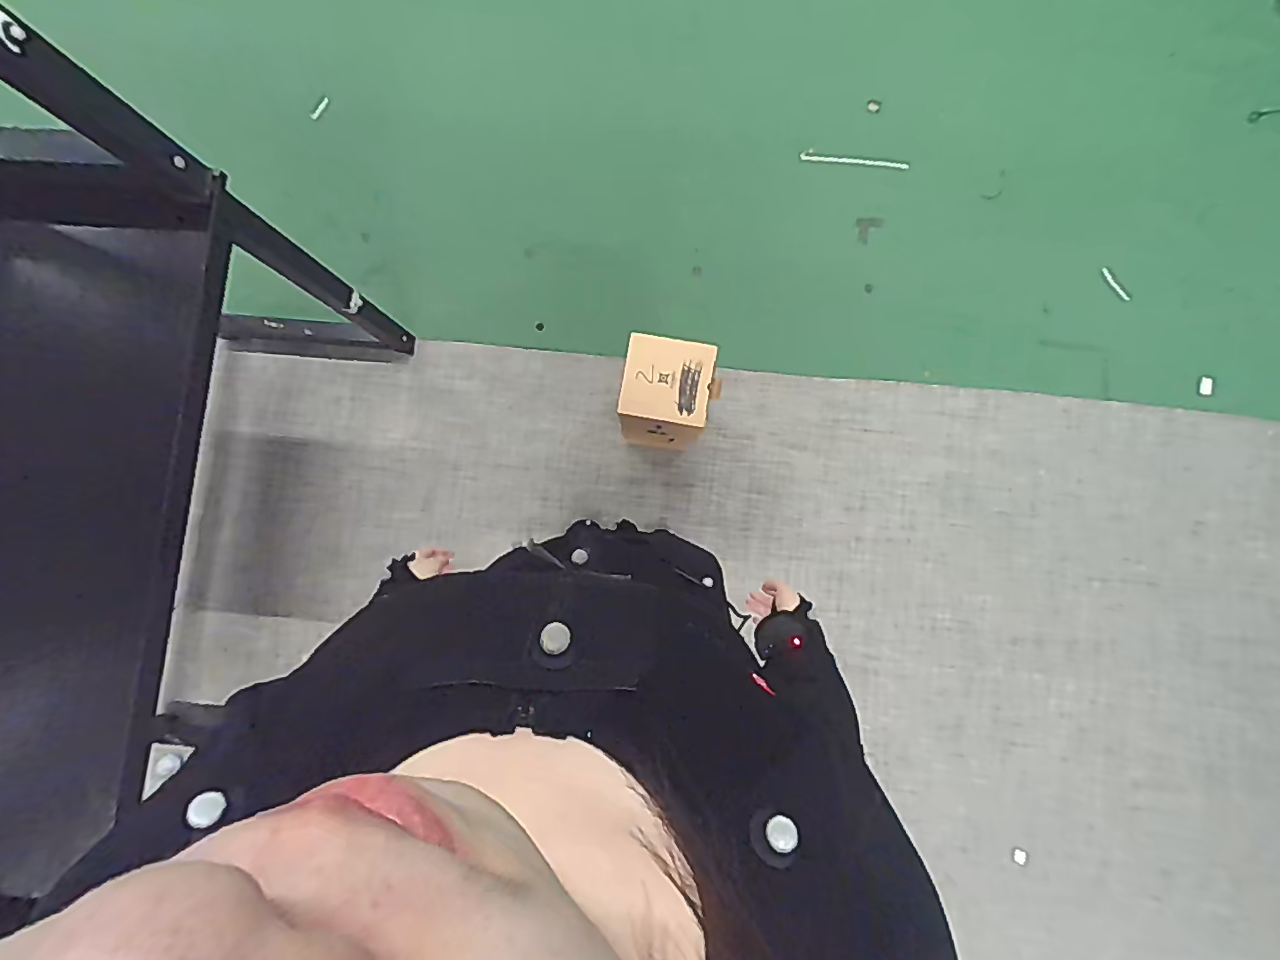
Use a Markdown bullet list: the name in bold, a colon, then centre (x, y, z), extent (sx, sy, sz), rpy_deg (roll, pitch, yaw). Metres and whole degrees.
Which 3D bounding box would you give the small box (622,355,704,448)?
- **small box**: centre (0.054, -0.178, 1.284), extent (0.168, 0.176, 0.179), rpy_deg (8, 85, 1)

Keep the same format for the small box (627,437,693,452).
- **small box**: centre (0.060, -0.172, 1.445), extent (0.179, 0.176, 0.168), rpy_deg (9, 86, 1)
